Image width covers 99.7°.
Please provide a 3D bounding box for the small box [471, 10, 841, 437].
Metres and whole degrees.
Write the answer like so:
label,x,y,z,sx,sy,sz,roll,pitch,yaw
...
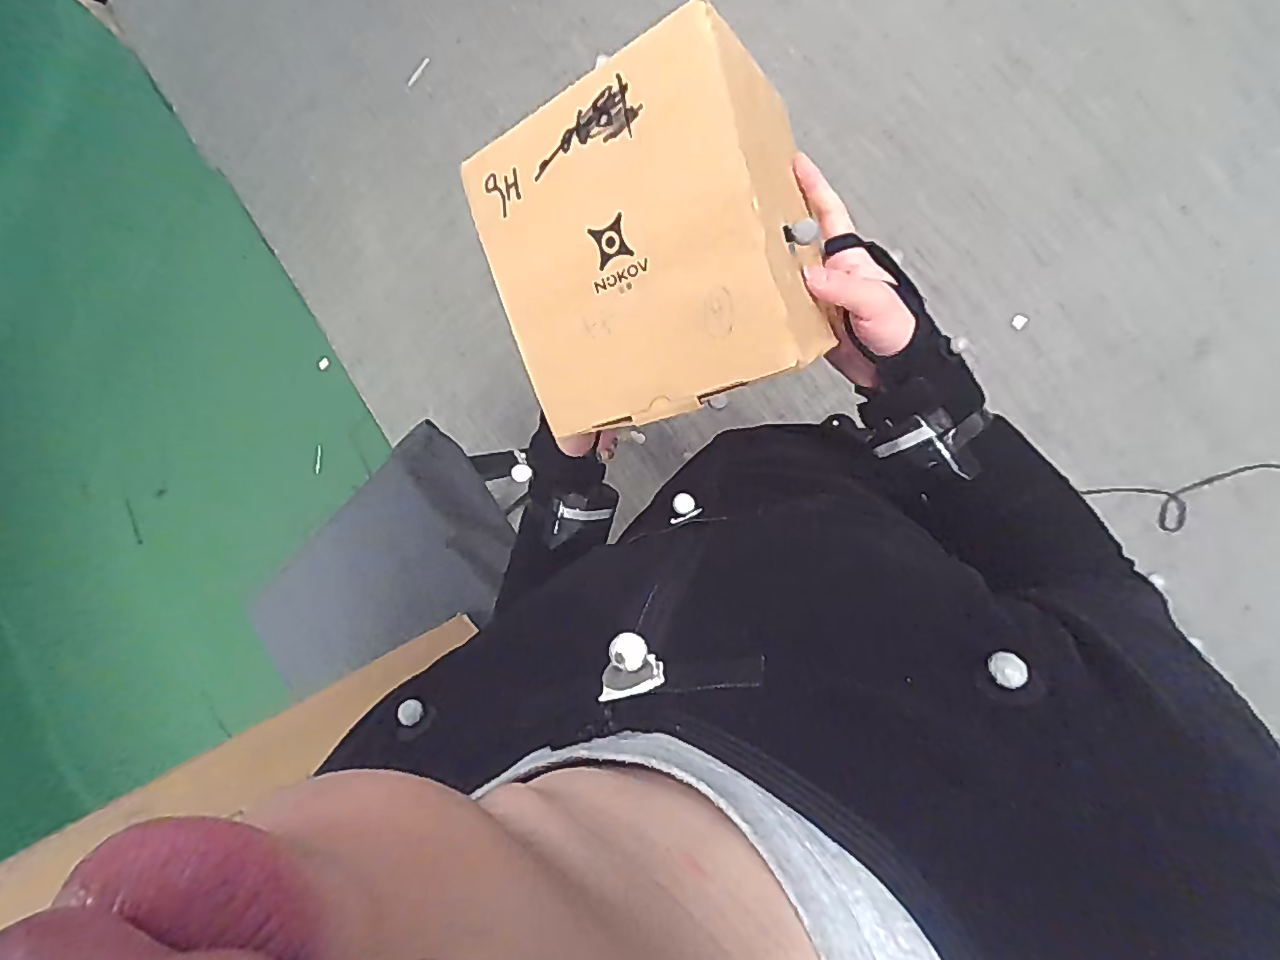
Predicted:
label,x,y,z,sx,sy,sz,roll,pitch,yaw
small box,0.028,-0.148,0.369,0.168,0.176,0.179,-13,102,30
